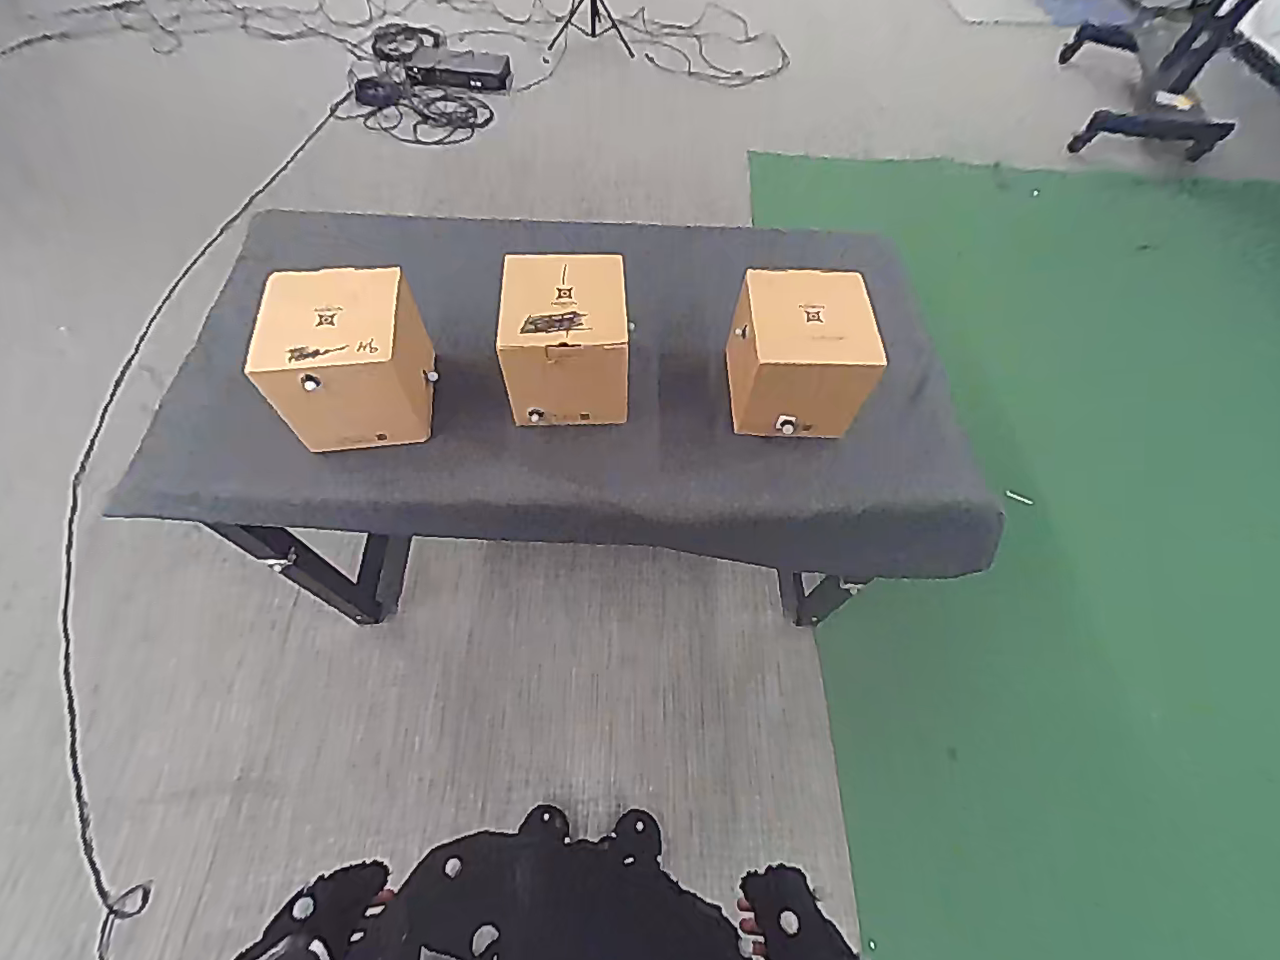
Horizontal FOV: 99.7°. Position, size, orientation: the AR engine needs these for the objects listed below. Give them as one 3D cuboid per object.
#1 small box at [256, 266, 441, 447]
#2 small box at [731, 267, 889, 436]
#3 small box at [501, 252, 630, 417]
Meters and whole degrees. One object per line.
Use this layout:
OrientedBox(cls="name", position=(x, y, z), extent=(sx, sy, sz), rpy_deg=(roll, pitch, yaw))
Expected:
OrientedBox(cls="small box", position=(-0.385, -0.168, 0.752), extent=(0.168, 0.176, 0.179), rpy_deg=(-7, 59, -5))
OrientedBox(cls="small box", position=(0.232, -0.185, 0.792), extent=(0.168, 0.176, 0.179), rpy_deg=(0, 61, -1))
OrientedBox(cls="small box", position=(-0.099, -0.204, 0.787), extent=(0.168, 0.176, 0.179), rpy_deg=(-2, 60, -4))
